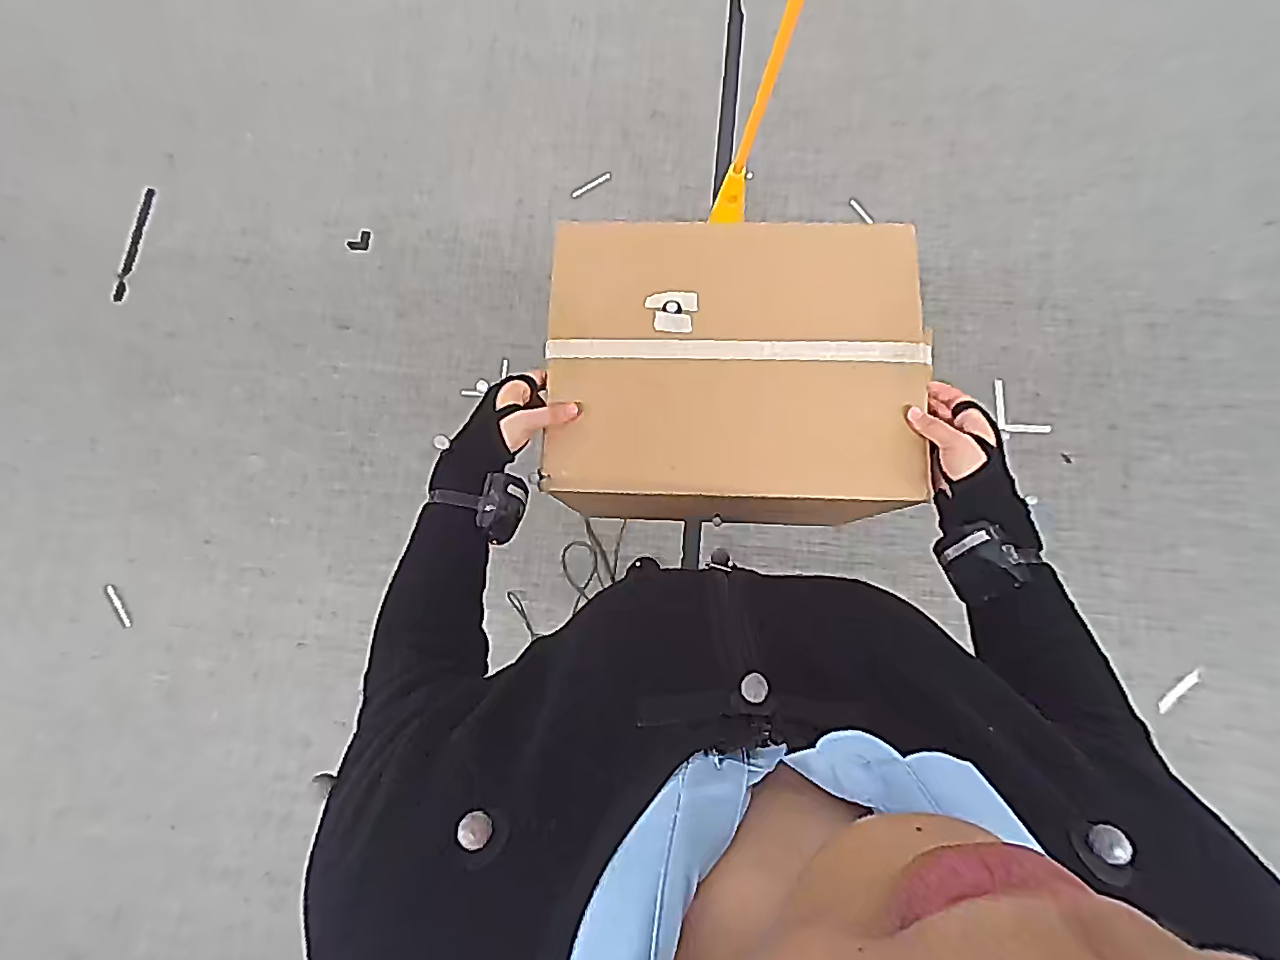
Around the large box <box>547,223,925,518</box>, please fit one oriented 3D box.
[{"bbox_3d":[0.111,-0.114,0.740,0.408,0.320,0.320,1,79,4],"label":"large box"}]
